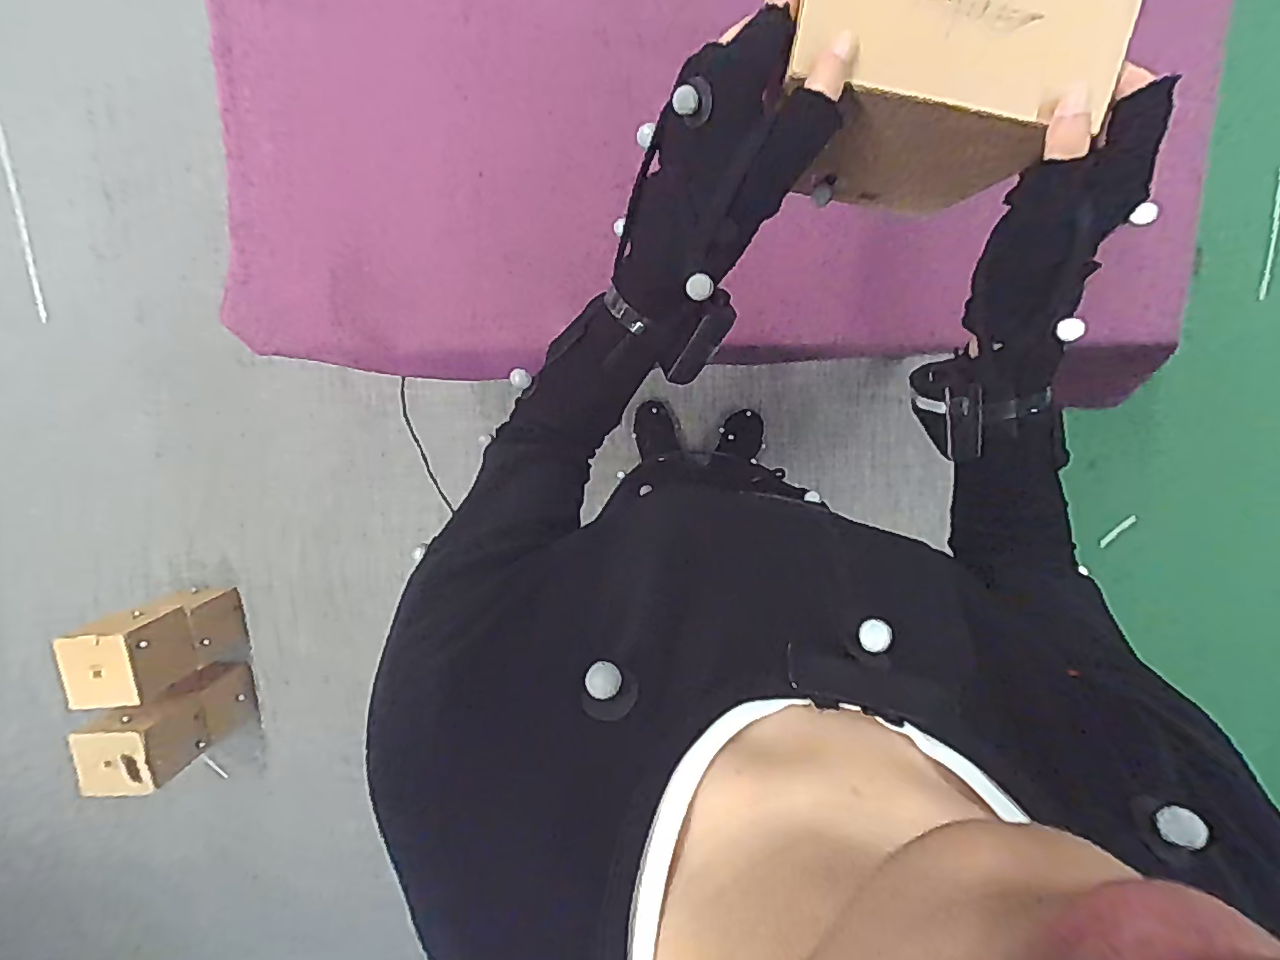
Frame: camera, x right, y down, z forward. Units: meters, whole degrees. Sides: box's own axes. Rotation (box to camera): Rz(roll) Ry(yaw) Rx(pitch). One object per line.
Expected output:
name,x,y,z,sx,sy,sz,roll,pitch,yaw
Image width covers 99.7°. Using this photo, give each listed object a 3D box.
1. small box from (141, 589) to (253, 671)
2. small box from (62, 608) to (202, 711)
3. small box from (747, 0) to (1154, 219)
small box,-1.207,0.405,1.469,0.179,0.176,0.168,-4,100,2
small box,-1.213,0.428,1.307,0.168,0.176,0.179,-5,99,1
small box,0.174,-0.288,0.335,0.168,0.176,0.179,10,102,-2
